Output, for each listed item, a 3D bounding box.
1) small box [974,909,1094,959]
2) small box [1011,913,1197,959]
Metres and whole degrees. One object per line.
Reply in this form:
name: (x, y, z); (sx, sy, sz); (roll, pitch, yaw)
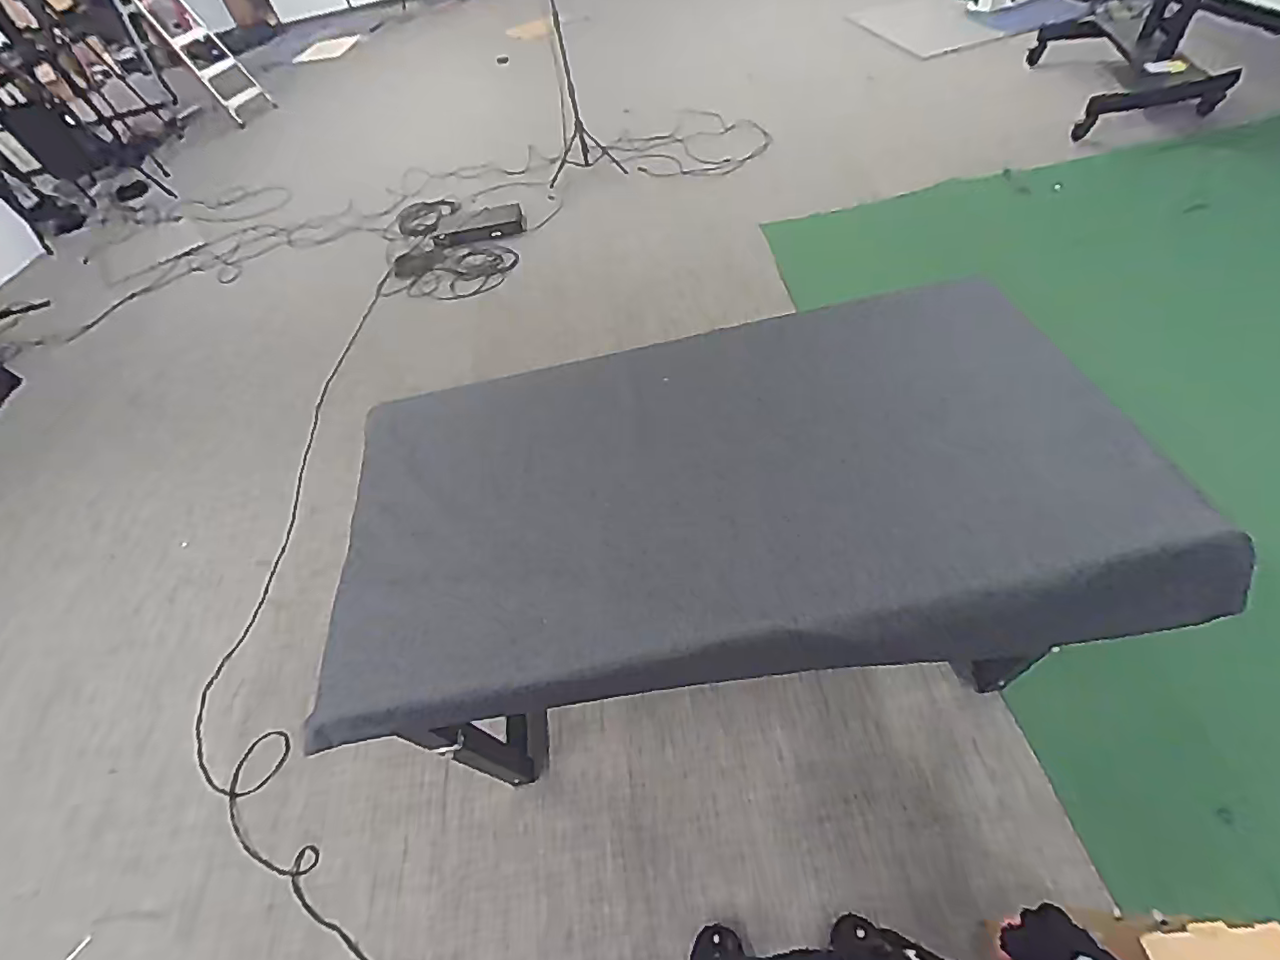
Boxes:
small box: (0.718, 0.848, 0.927); (0.179, 0.176, 0.168); (-9, 52, 5)
small box: (0.700, 0.750, 0.796); (0.179, 0.176, 0.168); (-8, 52, 5)
